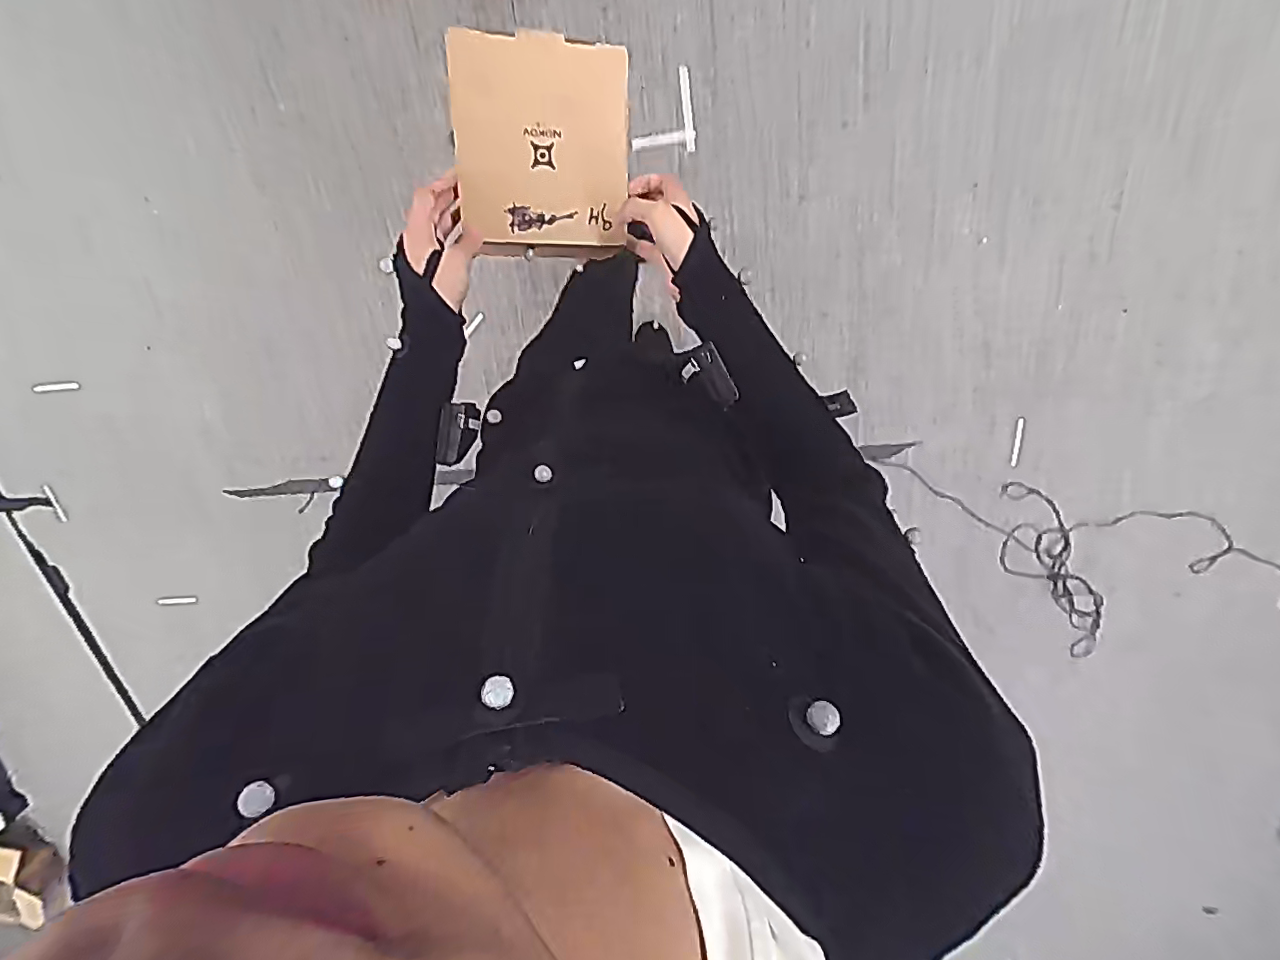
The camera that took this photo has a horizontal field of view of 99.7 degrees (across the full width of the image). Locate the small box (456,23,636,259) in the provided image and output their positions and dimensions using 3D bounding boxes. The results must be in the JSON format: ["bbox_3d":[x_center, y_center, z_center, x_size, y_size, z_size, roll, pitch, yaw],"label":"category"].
[{"bbox_3d":[-0.101,-0.346,0.590,0.168,0.176,0.179,-3,108,-11],"label":"small box"}]
